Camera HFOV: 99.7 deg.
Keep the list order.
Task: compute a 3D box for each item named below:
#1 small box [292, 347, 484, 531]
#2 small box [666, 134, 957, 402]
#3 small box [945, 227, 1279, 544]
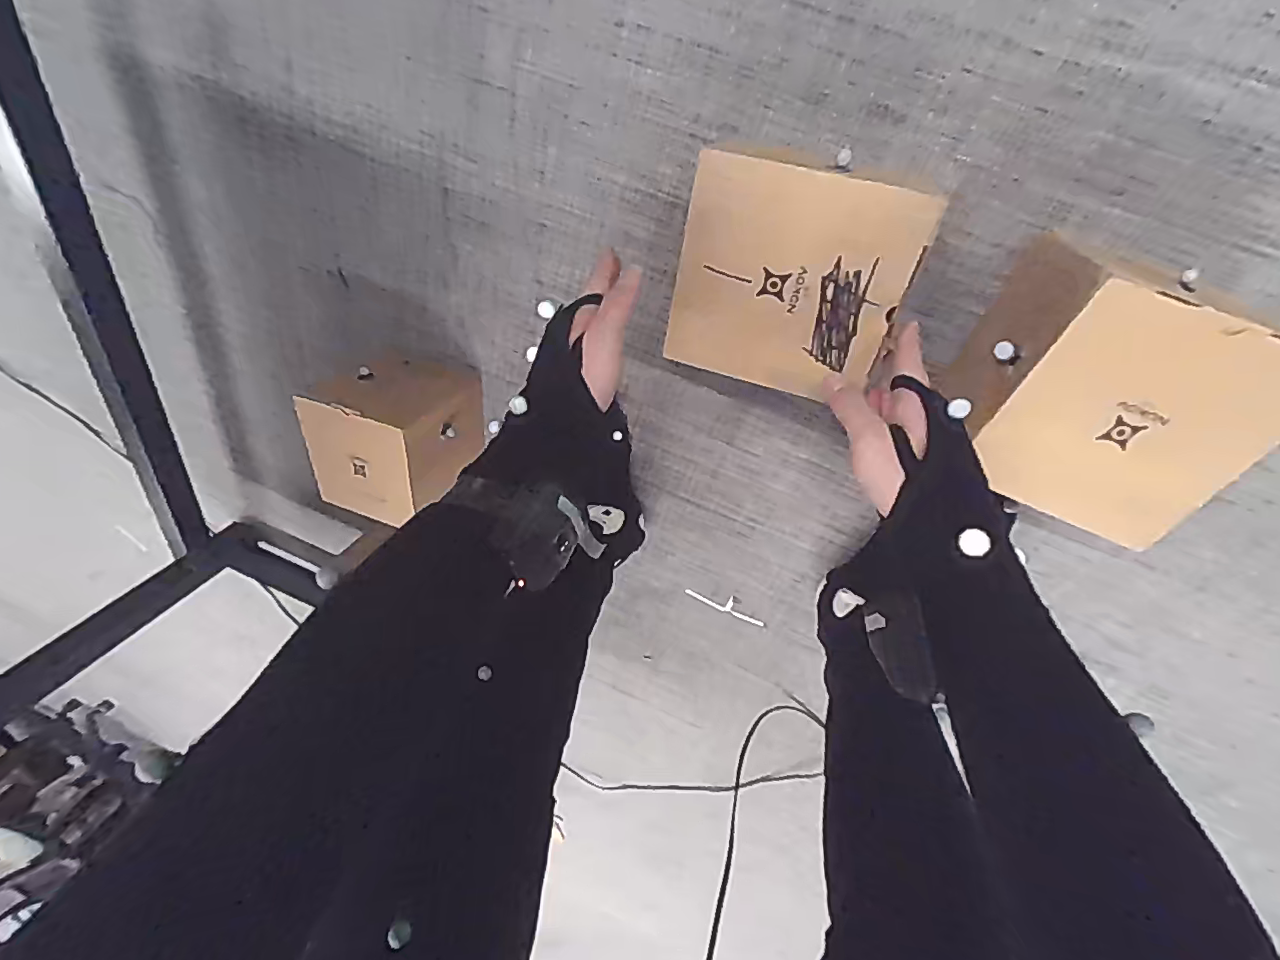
[{"bbox_3d":[-0.334,-0.065,0.755,0.168,0.176,0.179,18,127,11],"label":"small box"},{"bbox_3d":[0.142,-0.196,0.478,0.179,0.176,0.168,19,127,10],"label":"small box"},{"bbox_3d":[0.385,-0.086,0.454,0.168,0.176,0.179,25,127,5],"label":"small box"}]
